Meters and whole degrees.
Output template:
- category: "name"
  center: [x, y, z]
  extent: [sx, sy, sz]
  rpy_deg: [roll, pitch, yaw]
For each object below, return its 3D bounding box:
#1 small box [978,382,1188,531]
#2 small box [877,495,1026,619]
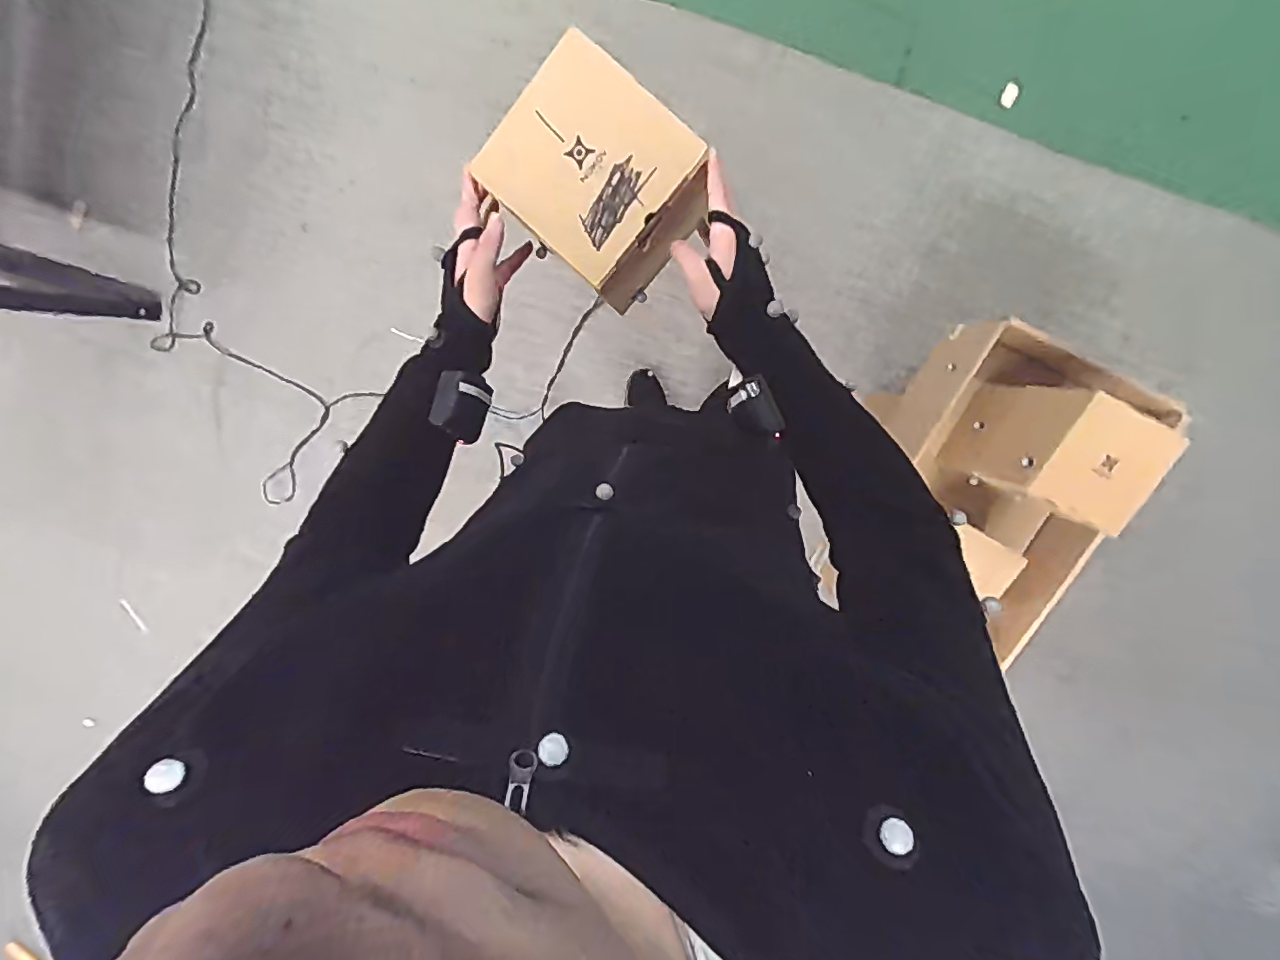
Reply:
- category: "small box"
  center: [0.712, -0.050, 0.898]
  extent: [0.168, 0.176, 0.179]
  rpy_deg: [27, 105, -2]
- category: "small box"
  center: [0.628, 0.147, 1.120]
  extent: [0.179, 0.176, 0.168]
  rpy_deg: [31, 105, -3]
